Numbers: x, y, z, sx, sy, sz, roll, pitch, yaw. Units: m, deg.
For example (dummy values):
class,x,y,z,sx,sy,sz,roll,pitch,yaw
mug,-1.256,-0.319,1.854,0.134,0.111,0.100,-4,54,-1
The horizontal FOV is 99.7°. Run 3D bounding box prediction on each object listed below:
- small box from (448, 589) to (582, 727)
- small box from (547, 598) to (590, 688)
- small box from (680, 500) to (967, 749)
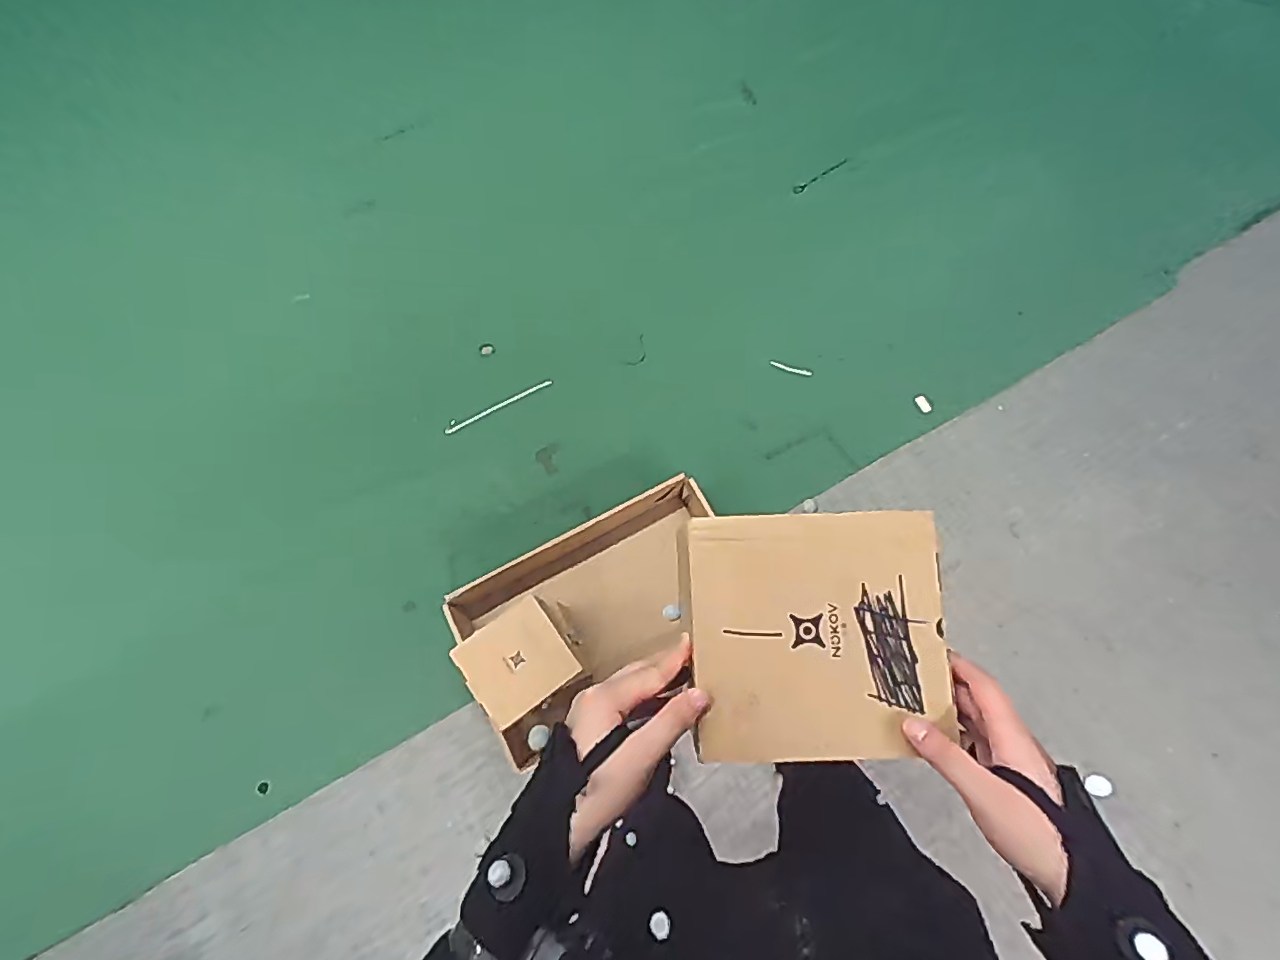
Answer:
class,x,y,z,sx,sy,sz,roll,pitch,yaw
small box,-0.222,0.328,1.013,0.179,0.176,0.168,-35,79,-13
small box,-0.221,0.372,1.171,0.179,0.176,0.168,-25,76,-8
small box,0.129,0.107,0.449,0.179,0.176,0.168,-2,81,0
